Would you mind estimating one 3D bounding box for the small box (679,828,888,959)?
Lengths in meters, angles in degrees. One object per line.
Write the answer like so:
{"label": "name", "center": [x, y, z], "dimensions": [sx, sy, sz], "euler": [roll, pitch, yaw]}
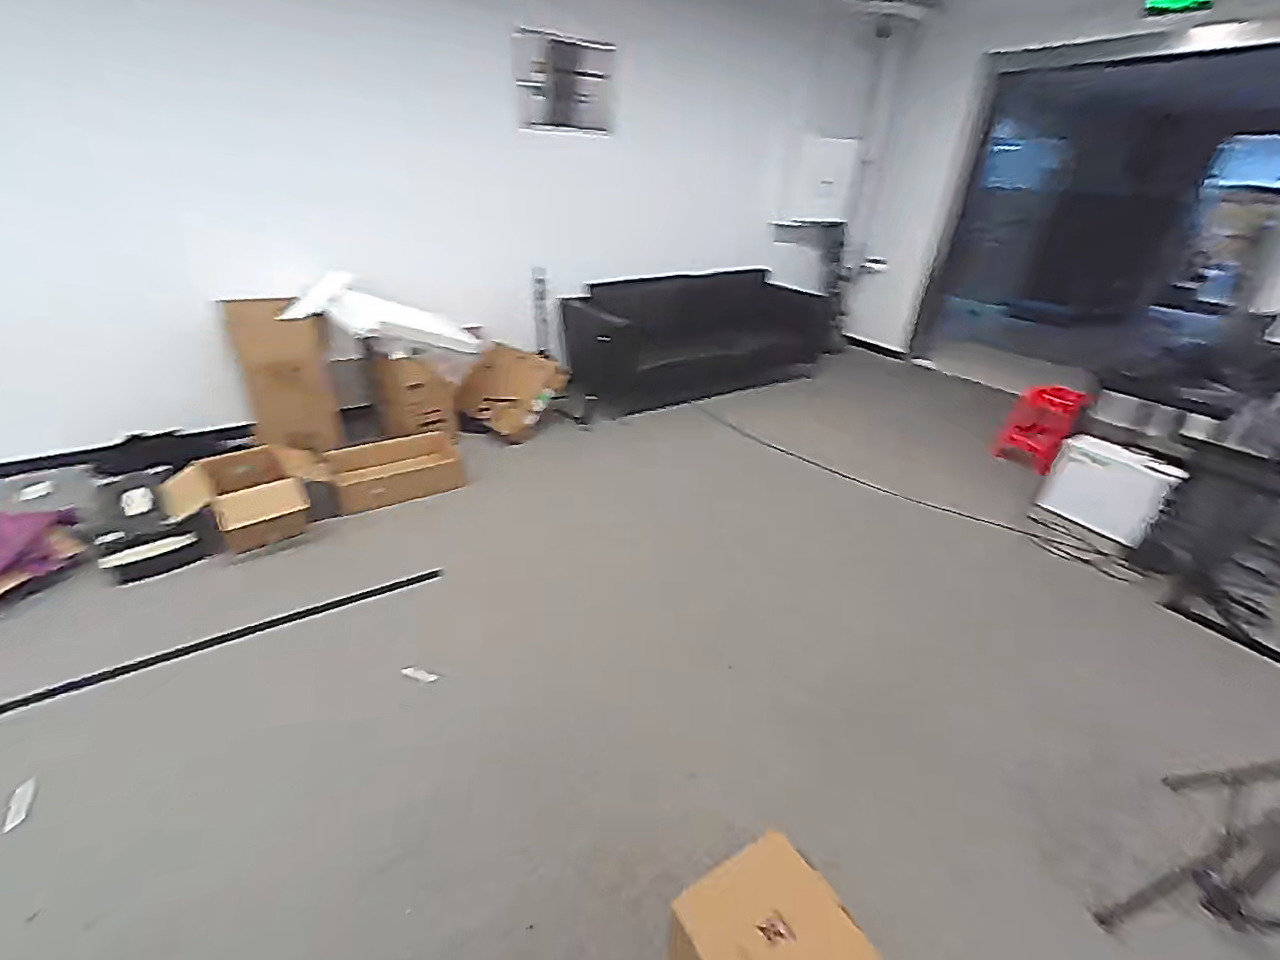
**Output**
{"label": "small box", "center": [0.157, 0.576, 0.645], "dimensions": [0.179, 0.176, 0.168], "euler": [-17, 32, -25]}
